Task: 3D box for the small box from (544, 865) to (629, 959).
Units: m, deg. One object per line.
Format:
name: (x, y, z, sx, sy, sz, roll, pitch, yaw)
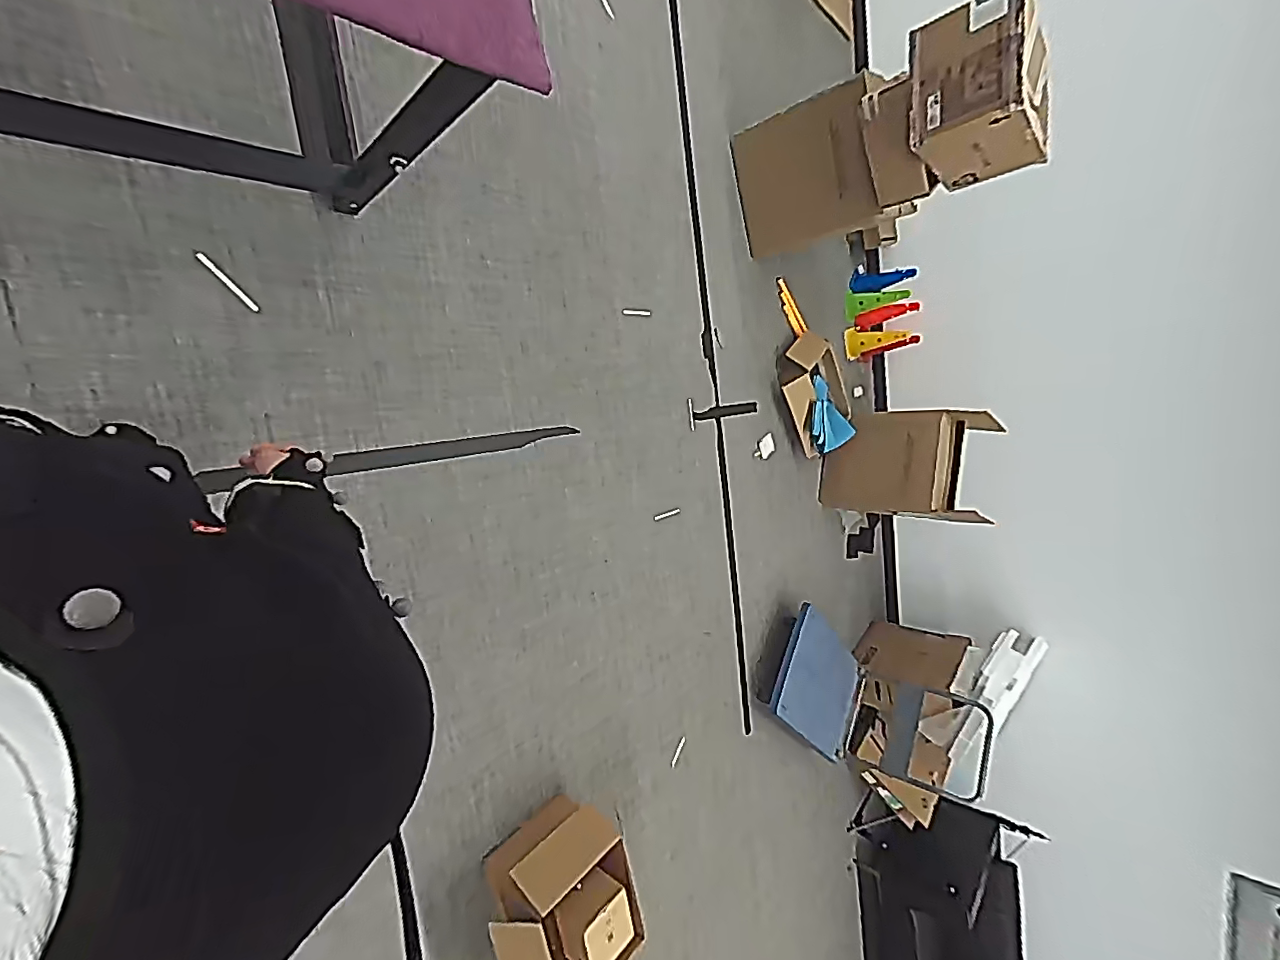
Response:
small box: (-0.156, 1.281, 1.575, 0.168, 0.176, 0.179, -20, 104, -45)
